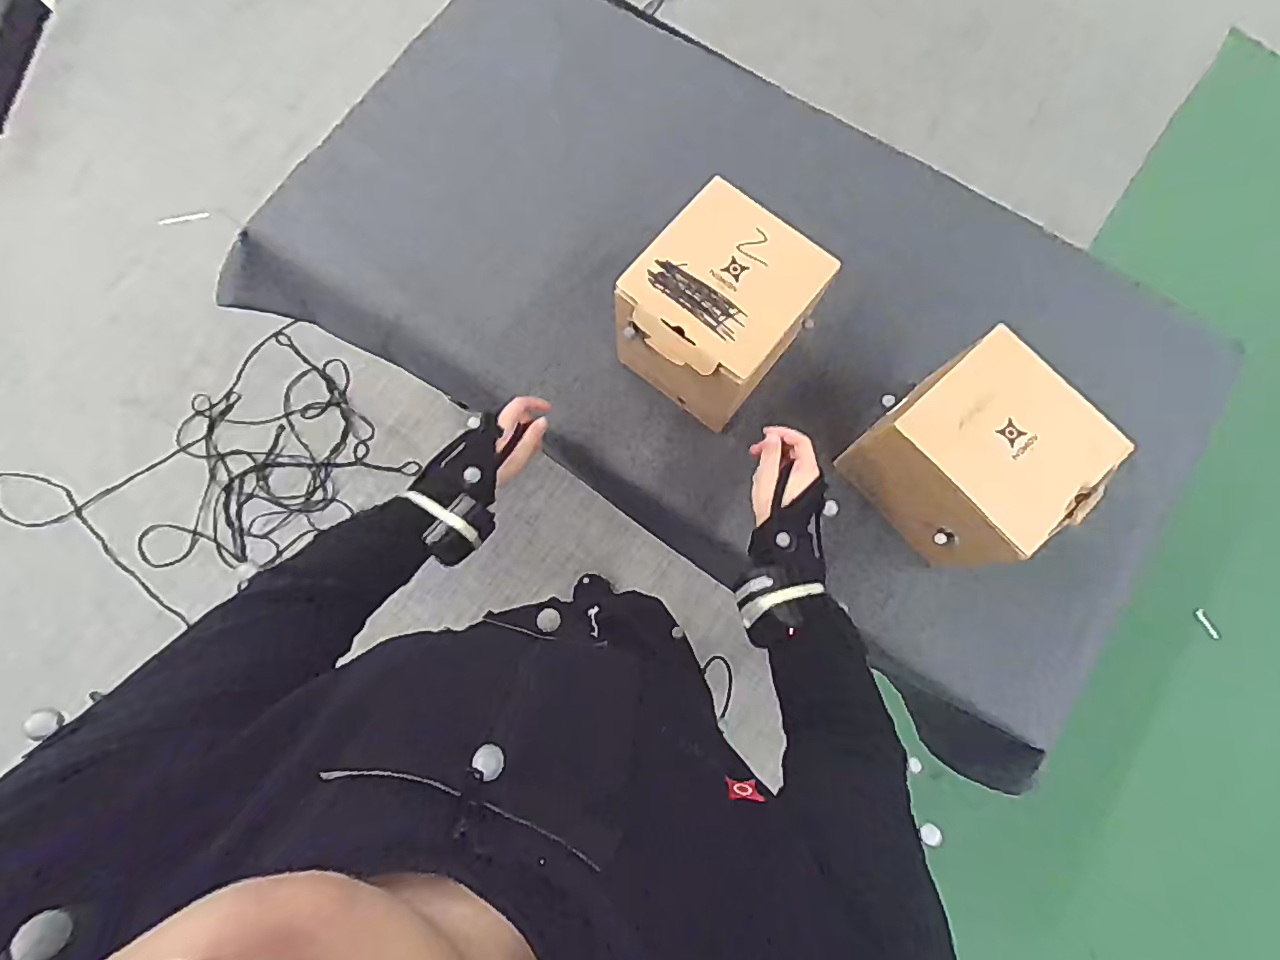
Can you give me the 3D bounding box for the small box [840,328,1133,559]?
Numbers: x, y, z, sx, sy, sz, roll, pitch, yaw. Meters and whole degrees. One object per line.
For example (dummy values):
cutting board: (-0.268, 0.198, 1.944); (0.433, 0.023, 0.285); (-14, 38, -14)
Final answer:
small box: (0.365, -0.027, 0.606); (0.168, 0.176, 0.179); (-41, 81, -9)
